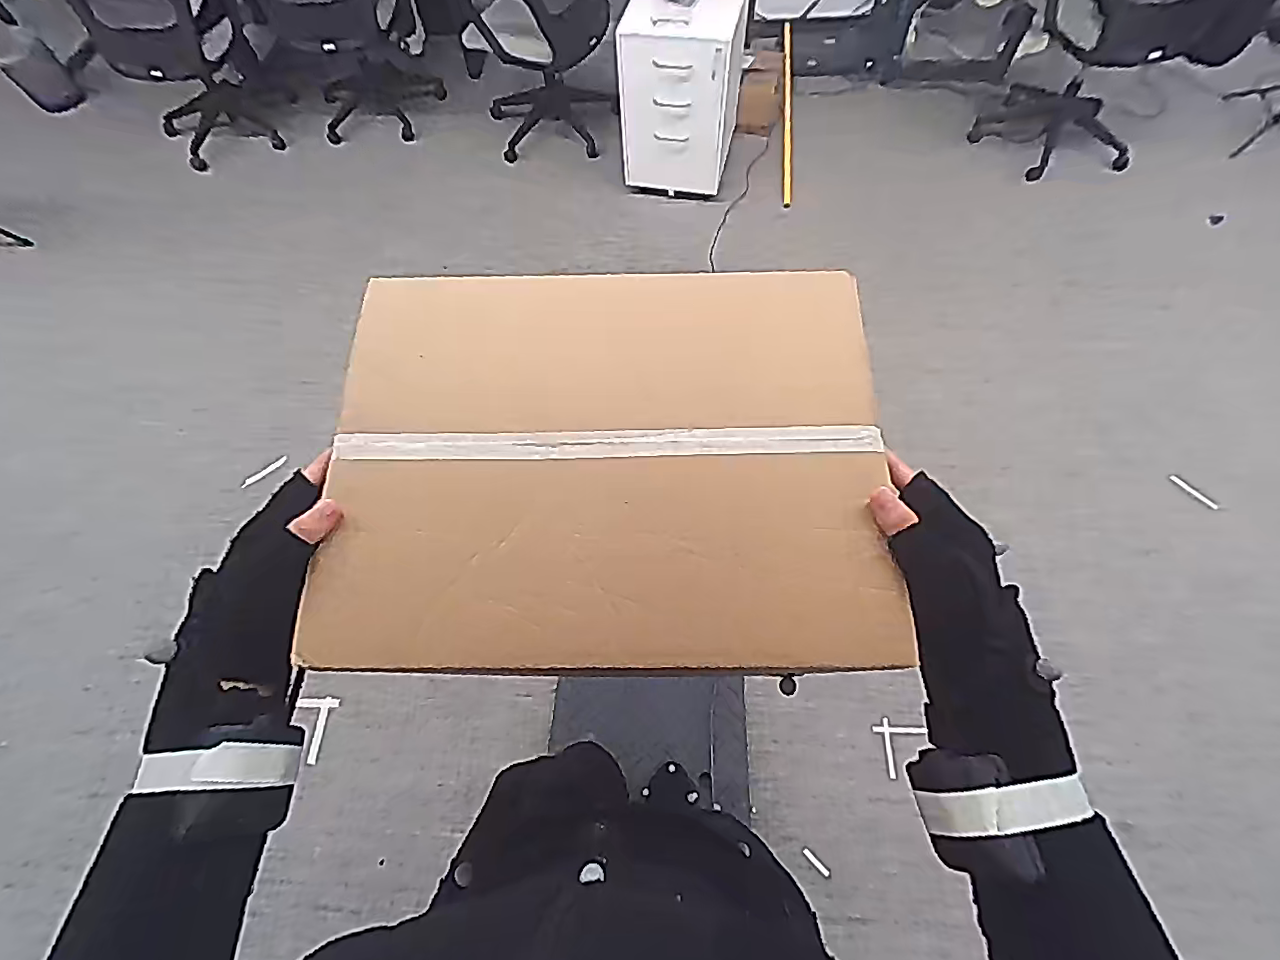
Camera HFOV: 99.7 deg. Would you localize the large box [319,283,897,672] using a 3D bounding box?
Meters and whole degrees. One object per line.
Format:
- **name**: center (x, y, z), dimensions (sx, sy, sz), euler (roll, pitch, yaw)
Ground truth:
- **large box**: center (-0.020, 0.029, 0.556), dimensions (0.408, 0.320, 0.320), euler (-1, 69, 2)
